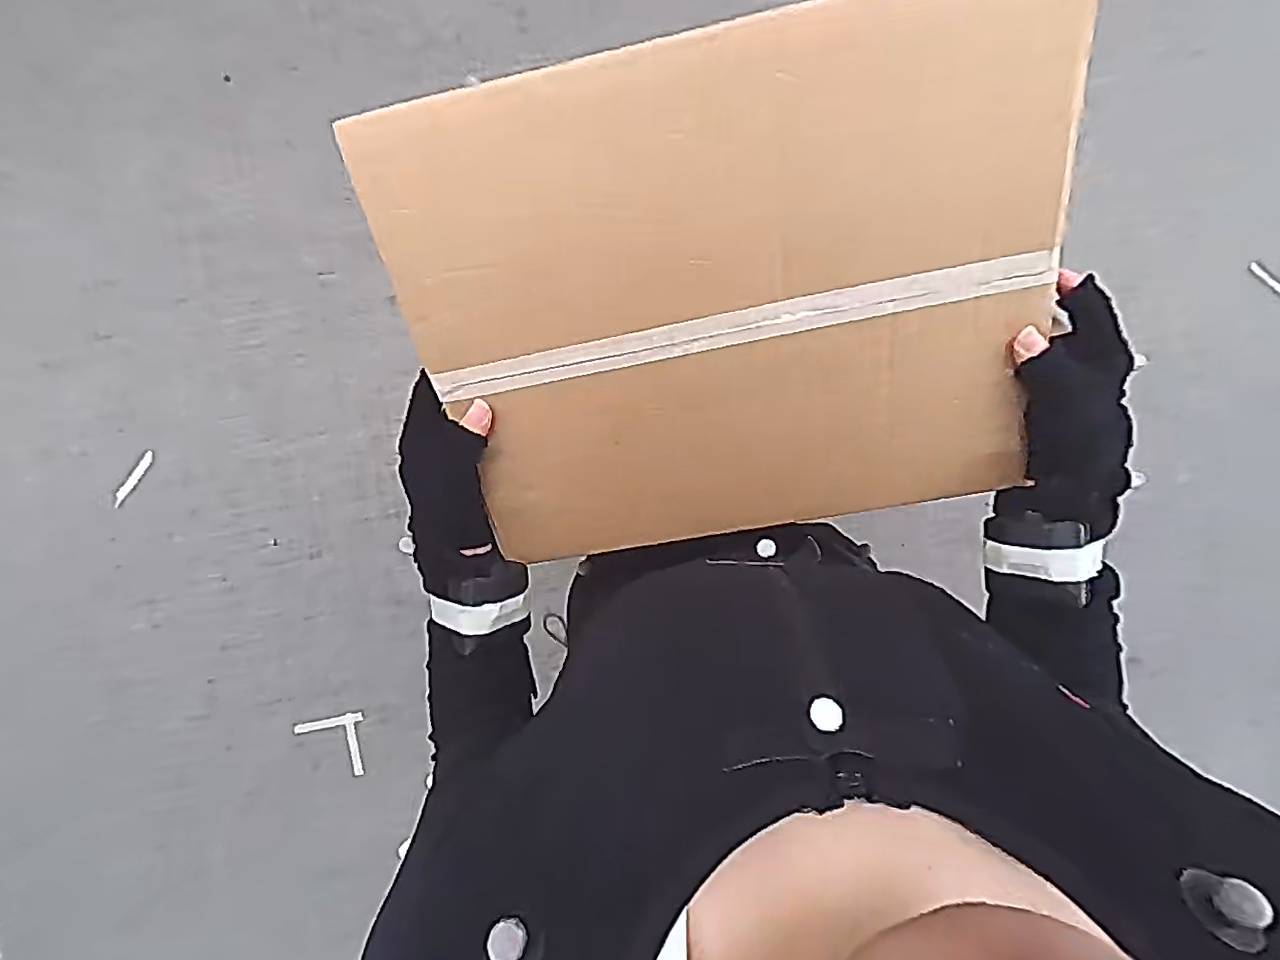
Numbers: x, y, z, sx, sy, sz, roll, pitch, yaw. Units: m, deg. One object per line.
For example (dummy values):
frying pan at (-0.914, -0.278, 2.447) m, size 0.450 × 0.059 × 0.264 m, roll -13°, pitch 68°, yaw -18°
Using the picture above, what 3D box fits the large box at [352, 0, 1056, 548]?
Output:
large box at (0.052, -0.179, 0.494) m, size 0.408 × 0.320 × 0.320 m, roll -10°, pitch 119°, yaw 6°
